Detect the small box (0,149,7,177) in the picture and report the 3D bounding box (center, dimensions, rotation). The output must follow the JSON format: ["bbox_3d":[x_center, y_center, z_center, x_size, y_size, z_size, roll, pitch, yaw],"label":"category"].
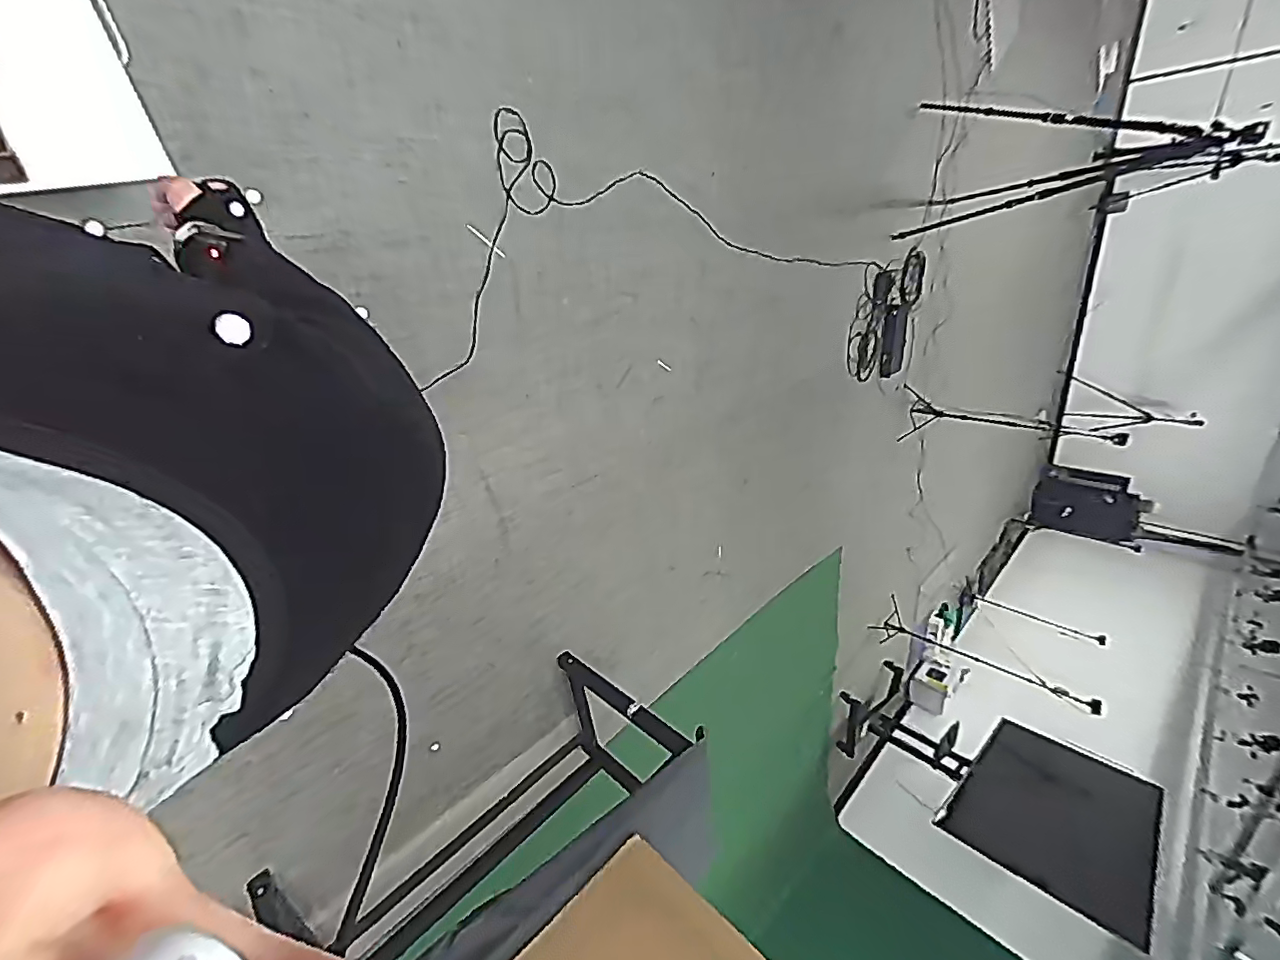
[{"bbox_3d":[-0.724,-0.370,0.476,0.168,0.176,0.179,-30,121,-37],"label":"small box"}]
